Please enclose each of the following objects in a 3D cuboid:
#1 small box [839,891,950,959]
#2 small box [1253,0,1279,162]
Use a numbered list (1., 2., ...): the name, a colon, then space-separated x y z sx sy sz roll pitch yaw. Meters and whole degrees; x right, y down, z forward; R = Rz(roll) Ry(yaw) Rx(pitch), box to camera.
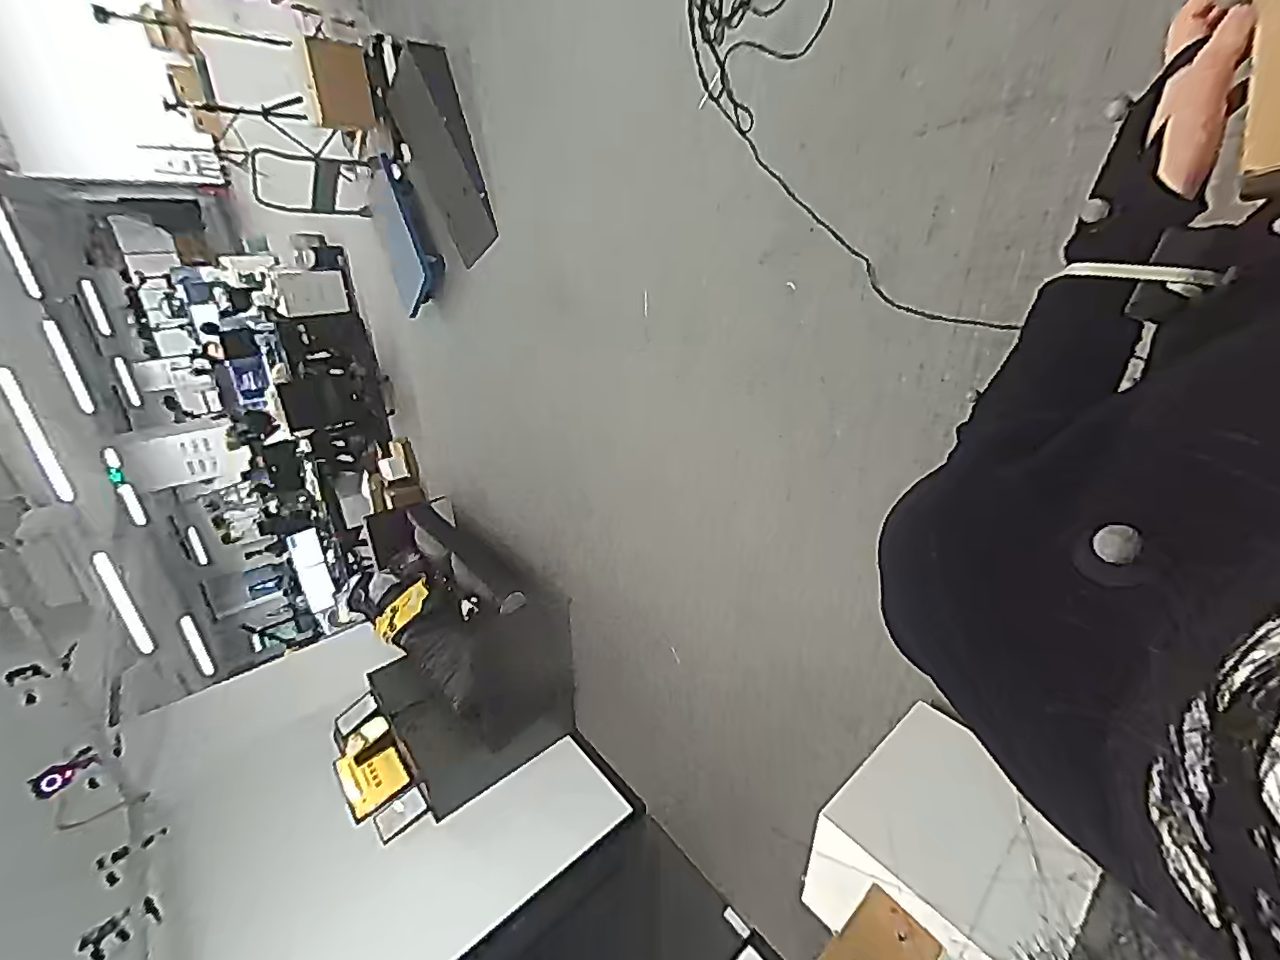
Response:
1. small box: 0.566 1.094 1.217 0.168 0.176 0.179 28 129 42
2. small box: 0.400 -0.264 0.236 0.168 0.176 0.179 5 109 47
